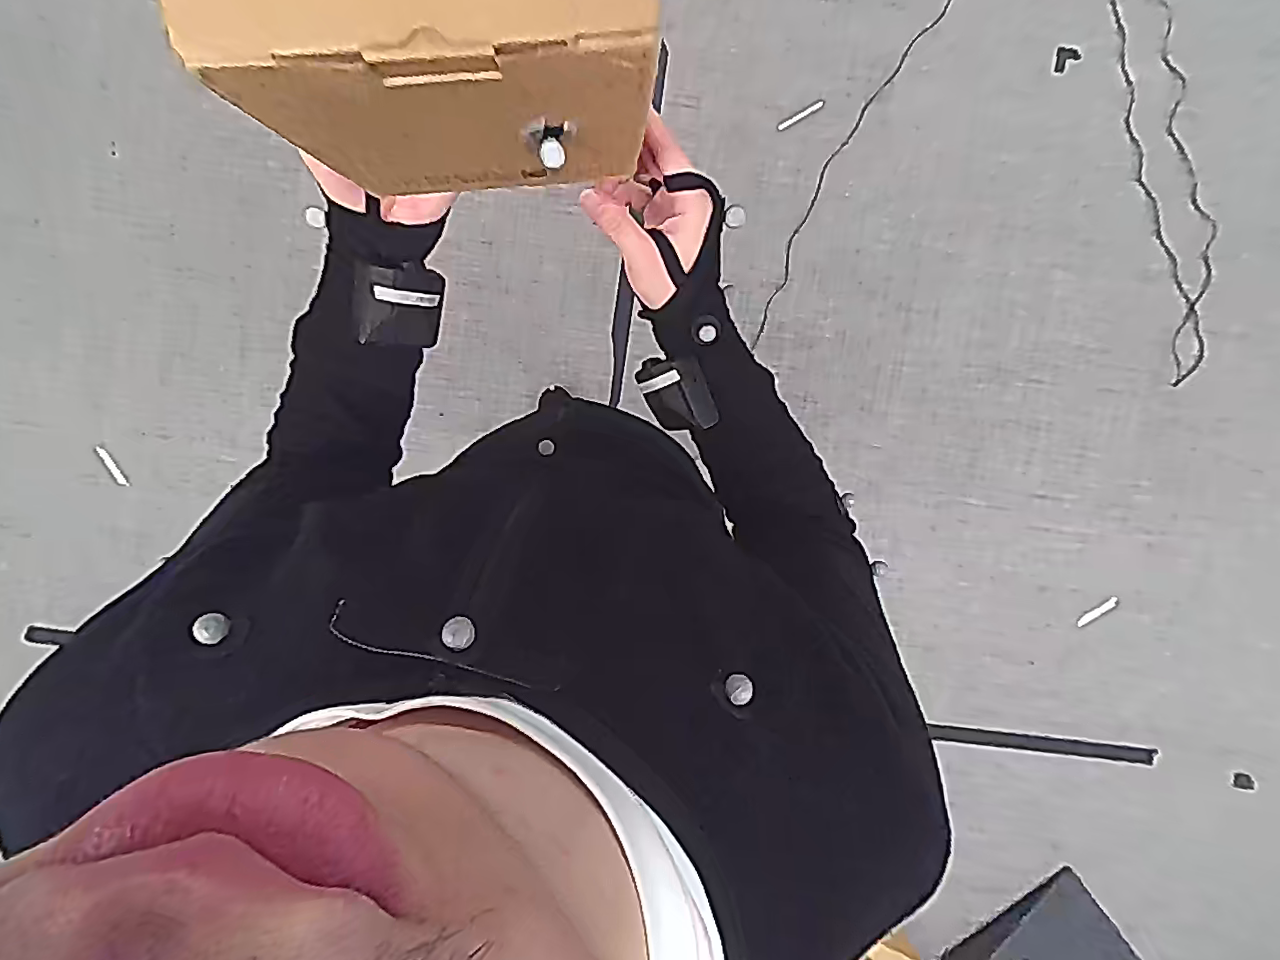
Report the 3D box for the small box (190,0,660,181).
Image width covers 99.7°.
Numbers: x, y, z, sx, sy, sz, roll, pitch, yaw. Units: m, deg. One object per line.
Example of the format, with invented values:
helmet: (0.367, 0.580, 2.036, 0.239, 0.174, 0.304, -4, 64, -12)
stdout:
small box: (-0.085, -0.254, 0.251, 0.168, 0.176, 0.179, -6, 104, -5)
